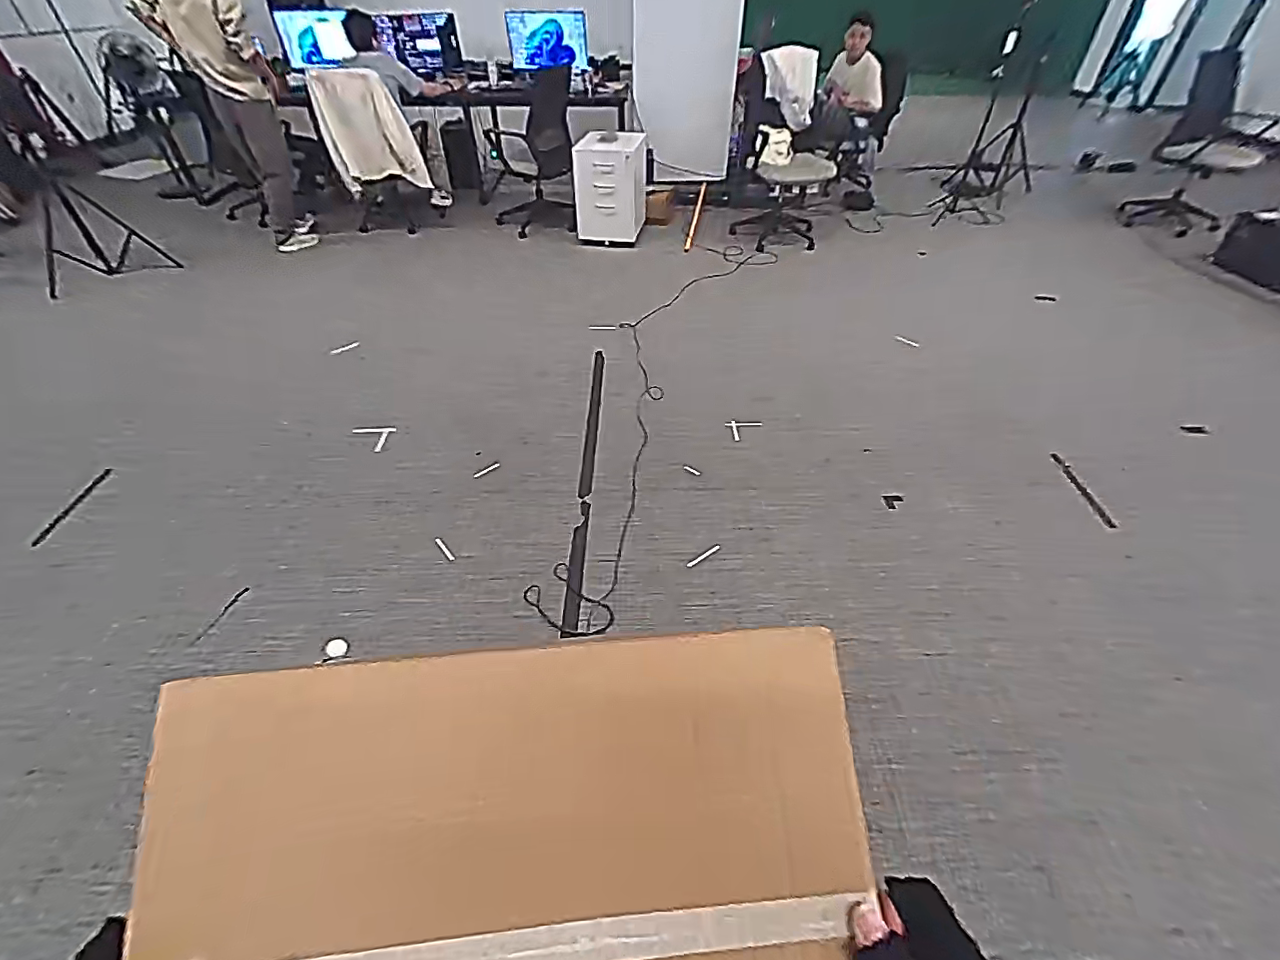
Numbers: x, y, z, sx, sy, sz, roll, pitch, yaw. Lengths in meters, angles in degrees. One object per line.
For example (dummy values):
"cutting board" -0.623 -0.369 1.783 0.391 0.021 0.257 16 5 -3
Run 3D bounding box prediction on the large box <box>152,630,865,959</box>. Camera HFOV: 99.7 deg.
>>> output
"large box" -0.077 0.302 0.447 0.408 0.320 0.320 -4 76 -3
